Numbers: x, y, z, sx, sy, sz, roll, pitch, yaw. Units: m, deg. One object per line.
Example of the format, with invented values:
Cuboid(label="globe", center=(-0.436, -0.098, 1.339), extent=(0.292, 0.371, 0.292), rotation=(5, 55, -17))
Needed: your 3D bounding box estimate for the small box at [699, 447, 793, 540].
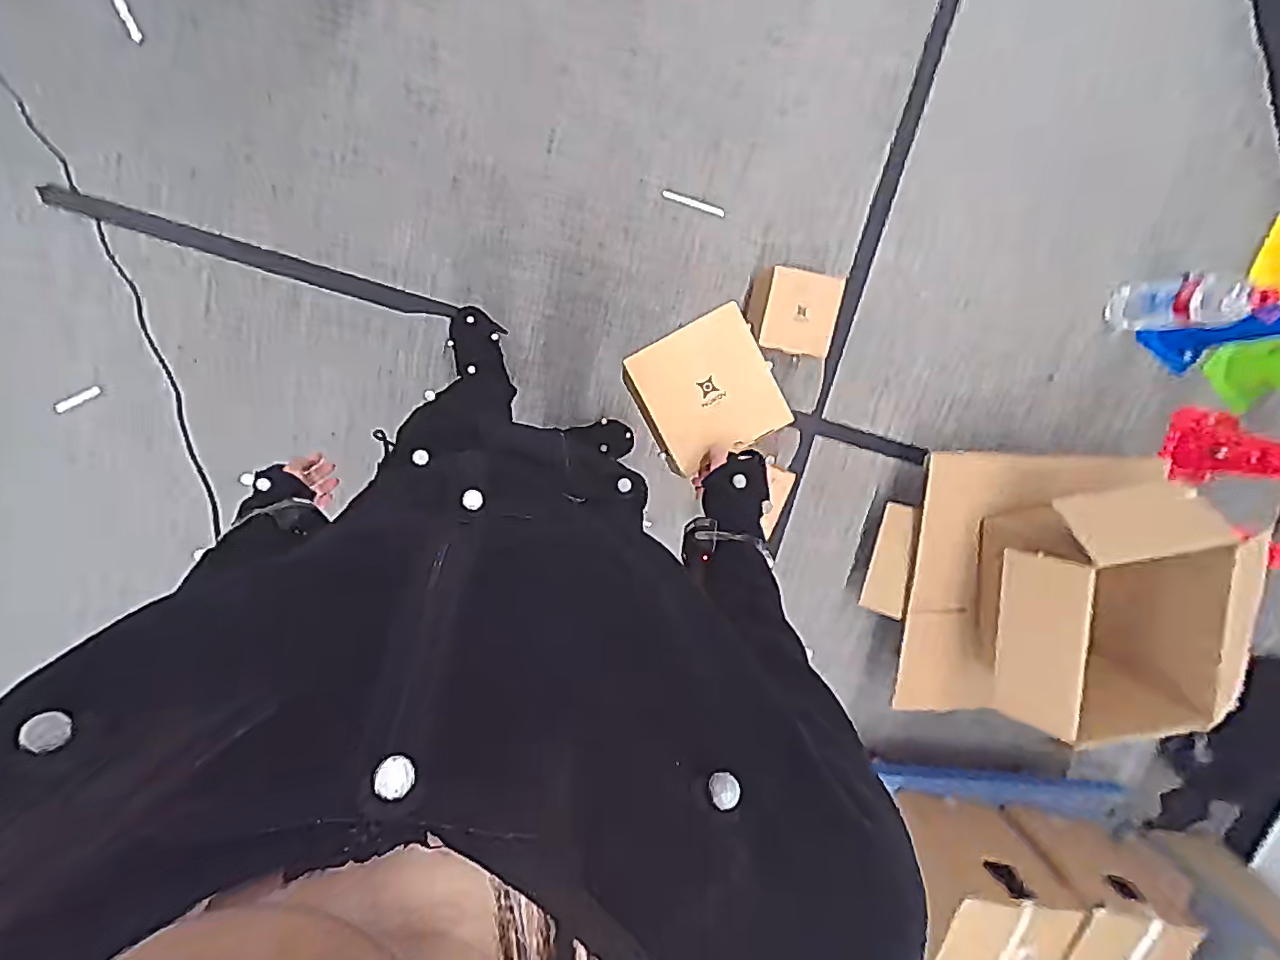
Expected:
Cuboid(label="small box", center=(0.260, 0.023, 1.379), extent=(0.168, 0.176, 0.179), rotation=(19, 102, -9))

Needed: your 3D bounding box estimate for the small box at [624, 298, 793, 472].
Cuboid(label="small box", center=(0.084, -0.126, 0.773), extent=(0.168, 0.176, 0.179), rotation=(-29, 96, 0))

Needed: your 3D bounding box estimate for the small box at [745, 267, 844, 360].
Cuboid(label="small box", center=(0.353, -0.389, 1.284), extent=(0.168, 0.176, 0.179), rotation=(9, 102, -7))
